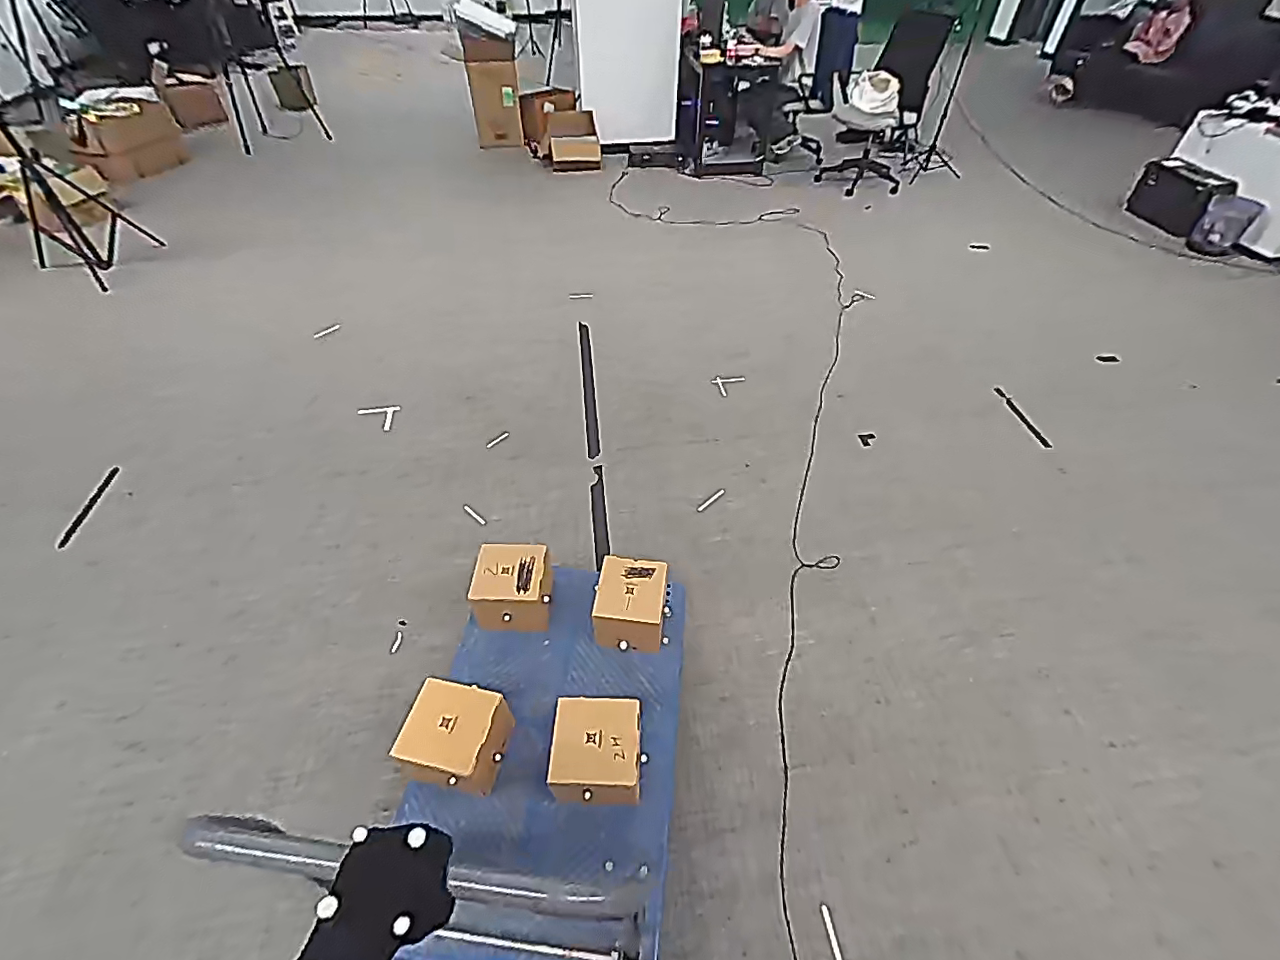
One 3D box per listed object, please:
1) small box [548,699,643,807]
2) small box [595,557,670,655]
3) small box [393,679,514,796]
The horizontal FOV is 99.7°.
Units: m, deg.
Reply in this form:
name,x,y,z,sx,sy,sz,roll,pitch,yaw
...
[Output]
name,x,y,z,sx,sy,sz,roll,pitch,yaw
small box,-0.085,0.580,1.145,0.179,0.176,0.168,1,47,2
small box,-0.017,0.323,1.387,0.168,0.176,0.179,6,48,6
small box,-0.392,0.558,1.169,0.179,0.176,0.168,10,47,7
